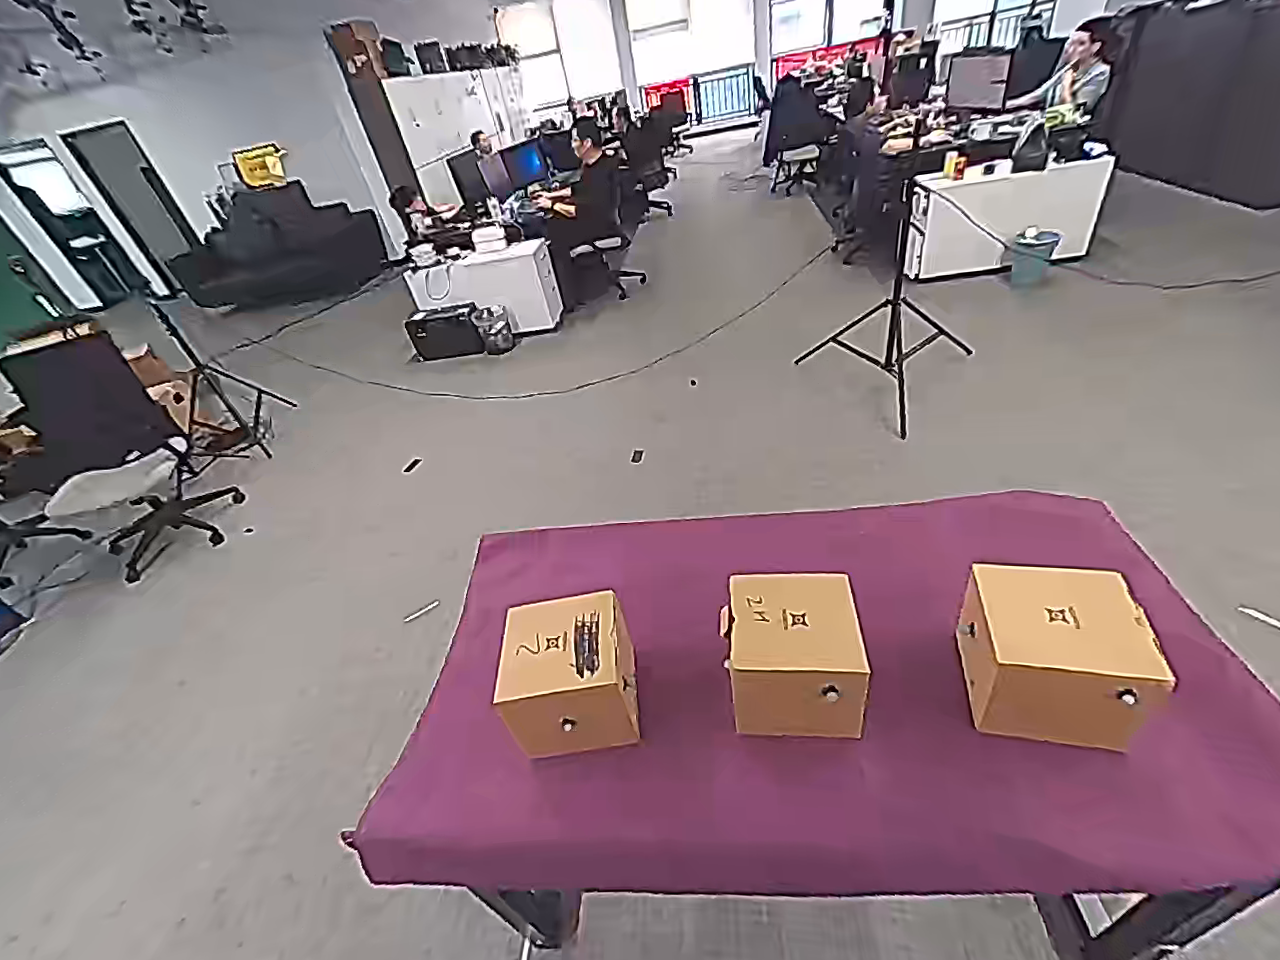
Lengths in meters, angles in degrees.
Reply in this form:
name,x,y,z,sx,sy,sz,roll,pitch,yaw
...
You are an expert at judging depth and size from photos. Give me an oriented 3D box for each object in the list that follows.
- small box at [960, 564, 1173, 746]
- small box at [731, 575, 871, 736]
name,x,y,z,sx,sy,sz,roll,pitch,yaw
small box,0.551,0.235,0.736,0.179,0.176,0.168,1,39,18
small box,0.229,0.260,0.802,0.179,0.176,0.168,-4,37,12
